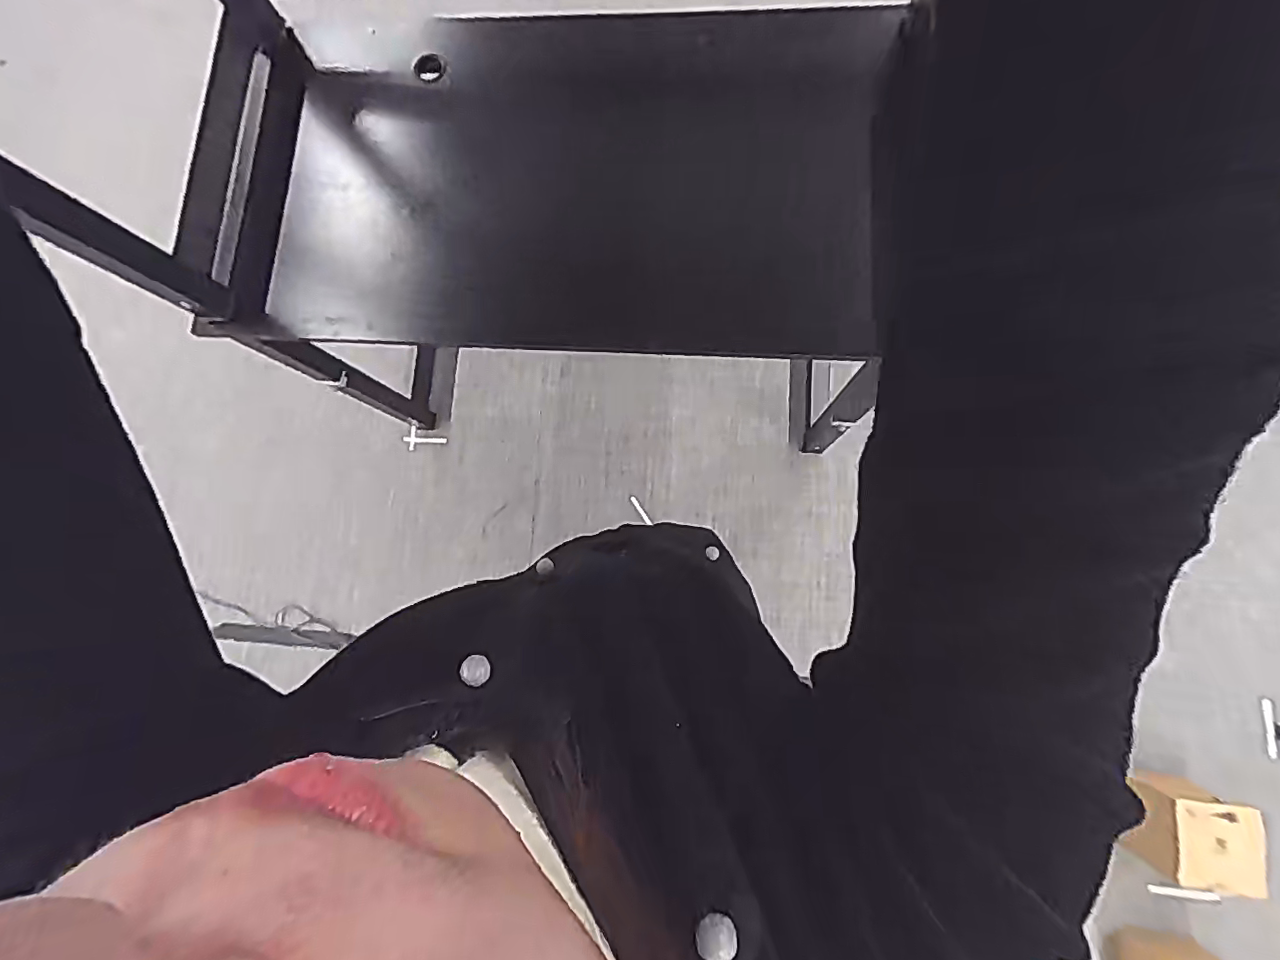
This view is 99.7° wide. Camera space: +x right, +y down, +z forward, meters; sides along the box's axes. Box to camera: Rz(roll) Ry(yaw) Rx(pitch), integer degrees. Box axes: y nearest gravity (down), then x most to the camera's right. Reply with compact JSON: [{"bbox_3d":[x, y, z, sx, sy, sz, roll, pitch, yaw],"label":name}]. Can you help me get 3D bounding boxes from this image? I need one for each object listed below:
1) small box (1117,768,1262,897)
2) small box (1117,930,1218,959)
[{"bbox_3d":[1.226,0.783,1.219,0.168,0.176,0.179,5,83,6],"label":"small box"},{"bbox_3d":[1.192,1.127,1.172,0.179,0.176,0.168,5,82,6],"label":"small box"}]
